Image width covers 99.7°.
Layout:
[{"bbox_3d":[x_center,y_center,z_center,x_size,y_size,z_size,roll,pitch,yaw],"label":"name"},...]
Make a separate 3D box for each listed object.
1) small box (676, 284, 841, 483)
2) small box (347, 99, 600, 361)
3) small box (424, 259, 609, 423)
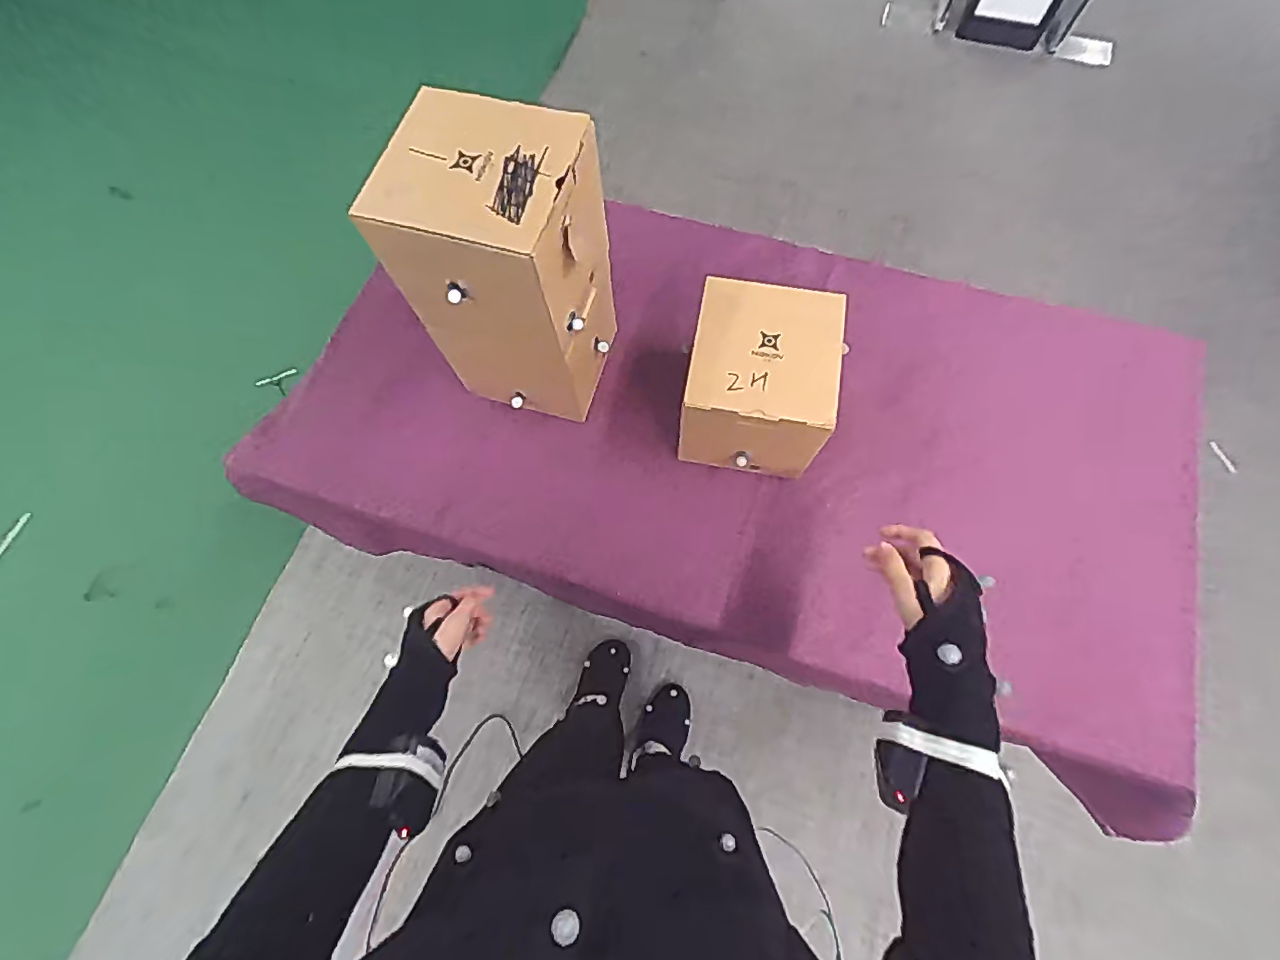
[{"bbox_3d":[0.140,-0.114,0.685,0.168,0.176,0.179,10,72,6],"label":"small box"},{"bbox_3d":[-0.150,-0.247,0.565,0.179,0.176,0.168,15,72,8],"label":"small box"},{"bbox_3d":[-0.147,-0.193,0.721,0.179,0.176,0.168,15,72,6],"label":"small box"}]
